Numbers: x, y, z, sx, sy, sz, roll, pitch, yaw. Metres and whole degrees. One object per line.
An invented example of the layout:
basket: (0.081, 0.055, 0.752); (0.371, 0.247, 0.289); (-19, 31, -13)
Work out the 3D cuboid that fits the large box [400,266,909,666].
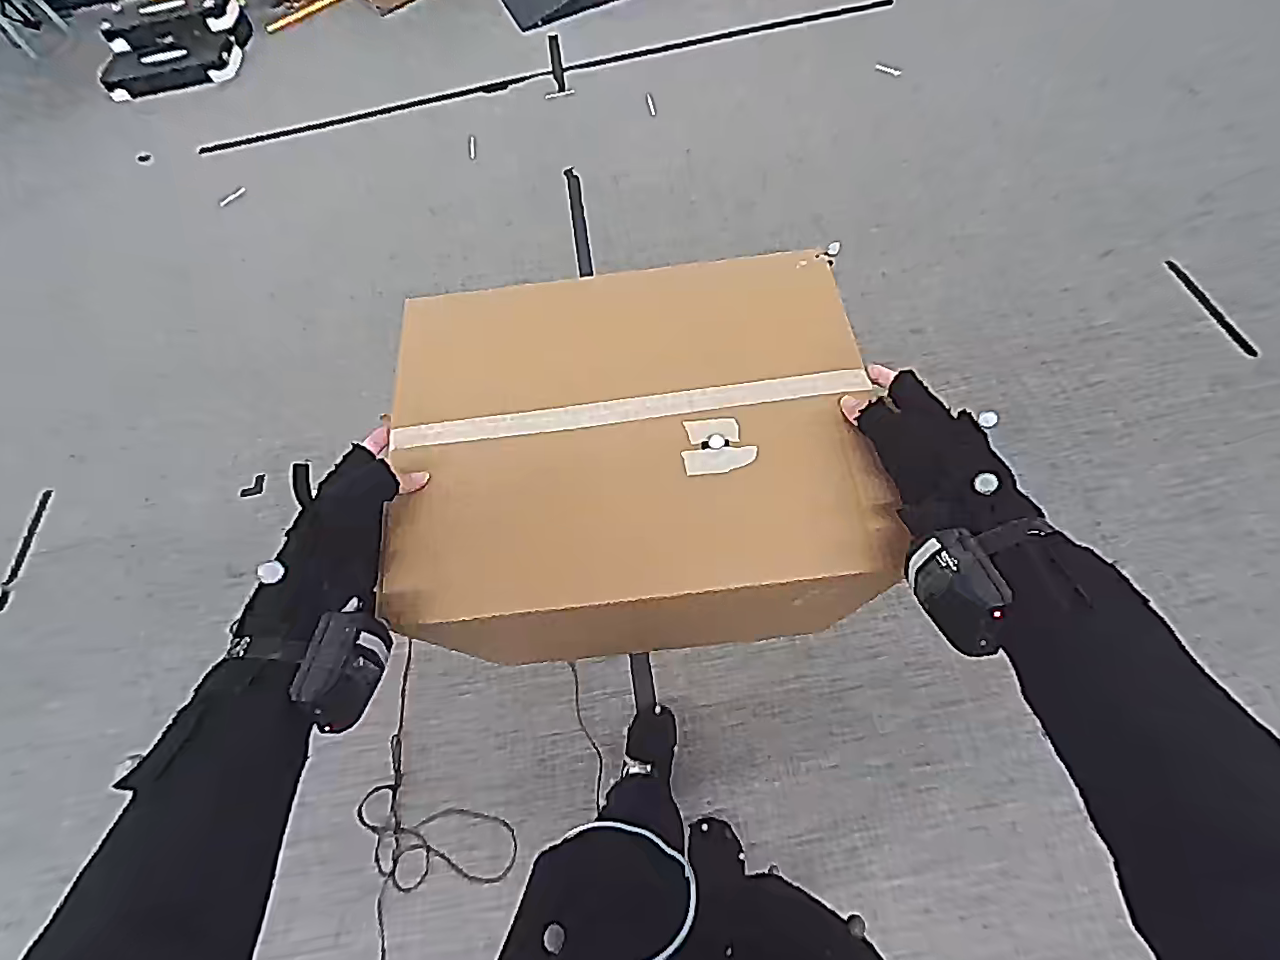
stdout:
large box: (0.001, 0.010, 0.608); (0.408, 0.320, 0.320); (-7, 66, 0)
